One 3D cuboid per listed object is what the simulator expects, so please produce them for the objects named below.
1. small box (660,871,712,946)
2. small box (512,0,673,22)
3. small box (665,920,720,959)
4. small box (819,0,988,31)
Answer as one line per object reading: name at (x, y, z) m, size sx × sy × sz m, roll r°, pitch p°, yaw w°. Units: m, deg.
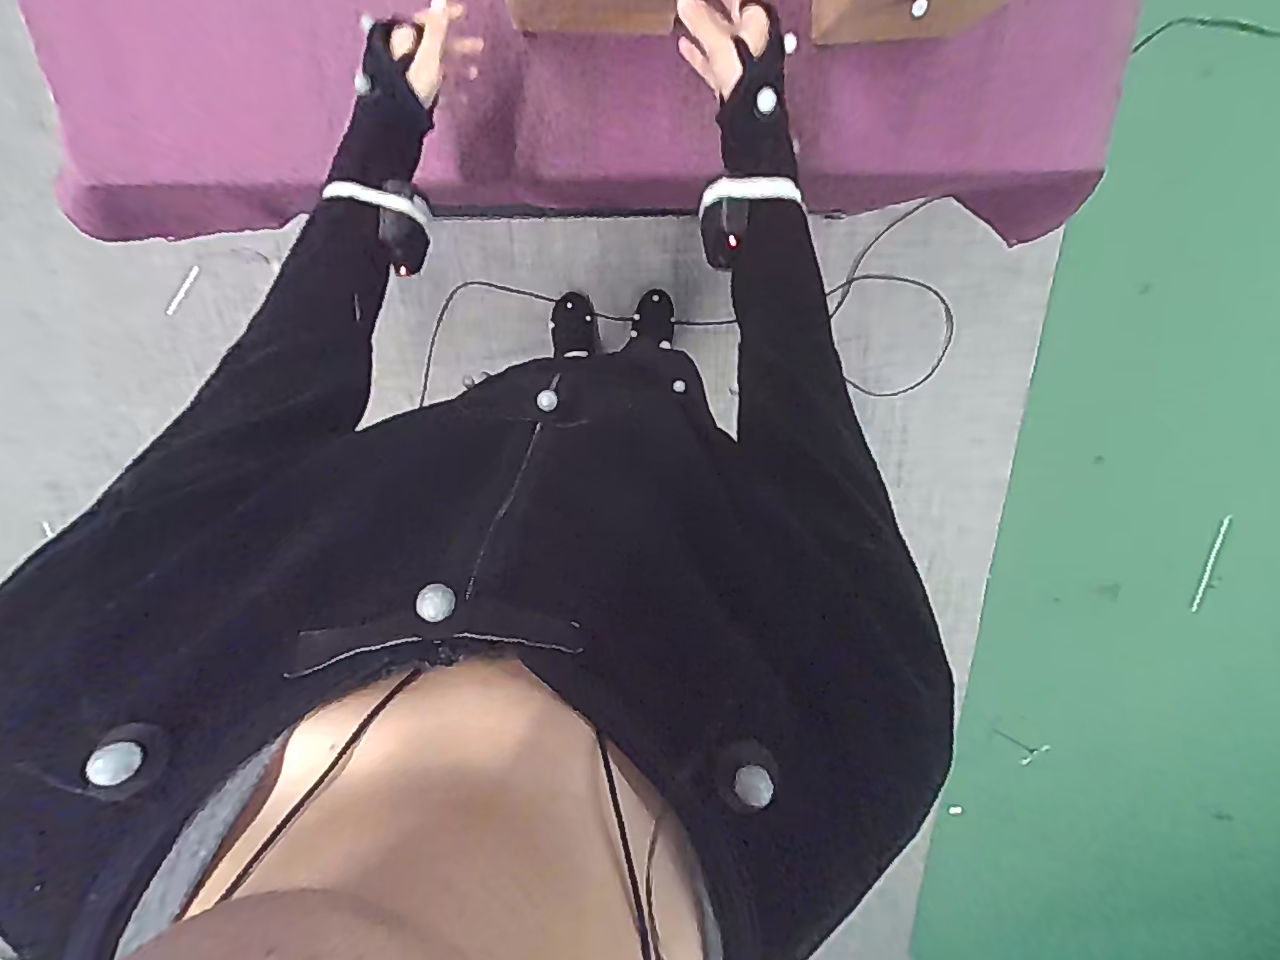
small box at (0.167, 1.604, 2.015) m, size 0.168 × 0.176 × 0.179 m, roll -1°, pitch 109°, yaw -6°
small box at (-0.045, -0.549, 0.485) m, size 0.179 × 0.176 × 0.168 m, roll -2°, pitch 109°, yaw -5°
small box at (0.176, 1.655, 1.860) m, size 0.168 × 0.176 × 0.179 m, roll -1°, pitch 110°, yaw -4°
small box at (0.281, -0.555, 0.506) m, size 0.179 × 0.176 × 0.168 m, roll -5°, pitch 111°, yaw -2°
